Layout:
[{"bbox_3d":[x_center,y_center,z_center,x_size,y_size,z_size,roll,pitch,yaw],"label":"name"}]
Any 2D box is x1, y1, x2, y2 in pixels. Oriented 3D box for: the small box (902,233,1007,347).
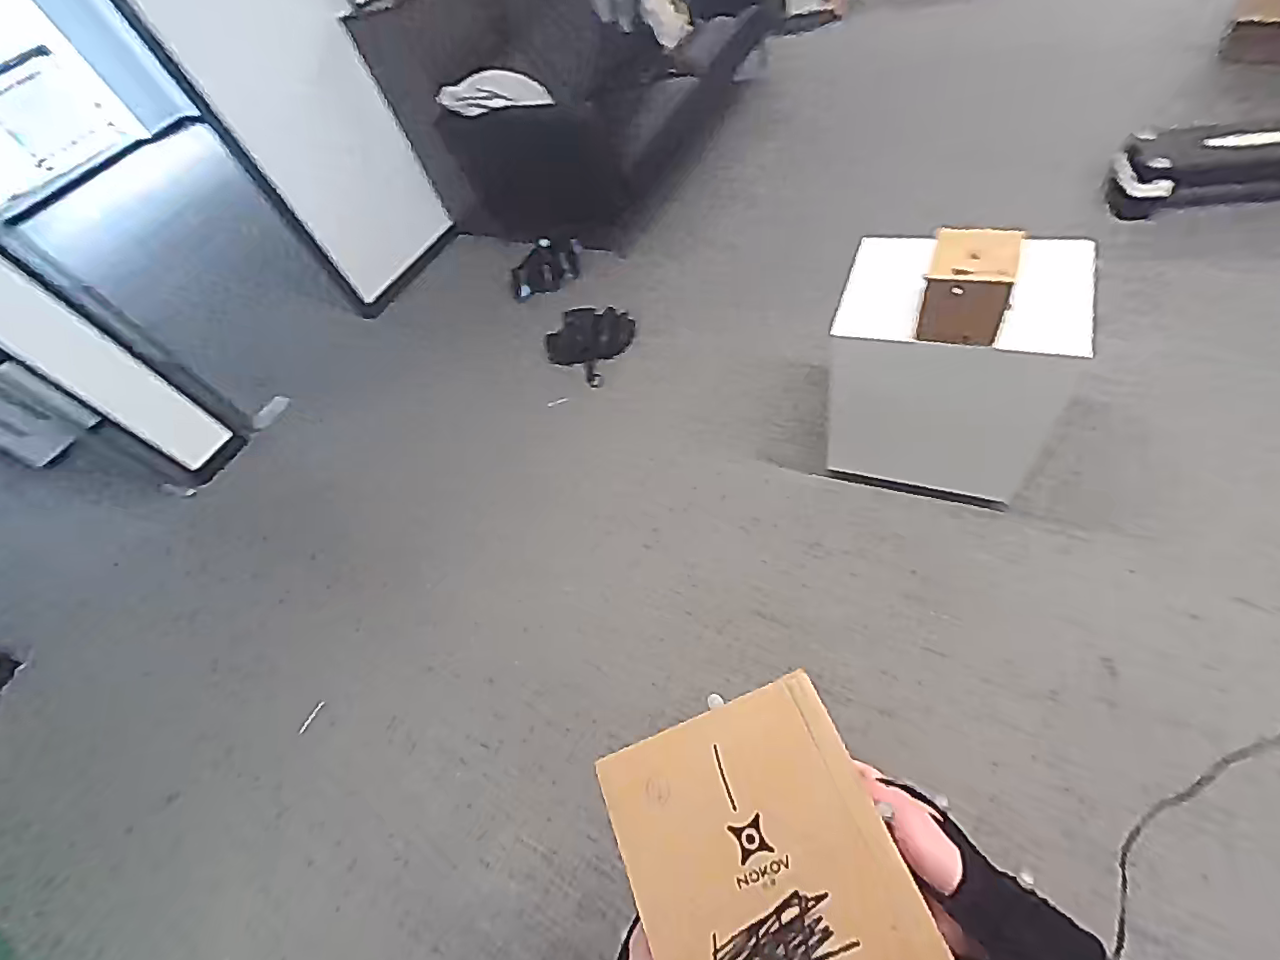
[{"bbox_3d":[0.687,-0.421,1.193,0.168,0.176,0.179,12,58,25],"label":"small box"}]
